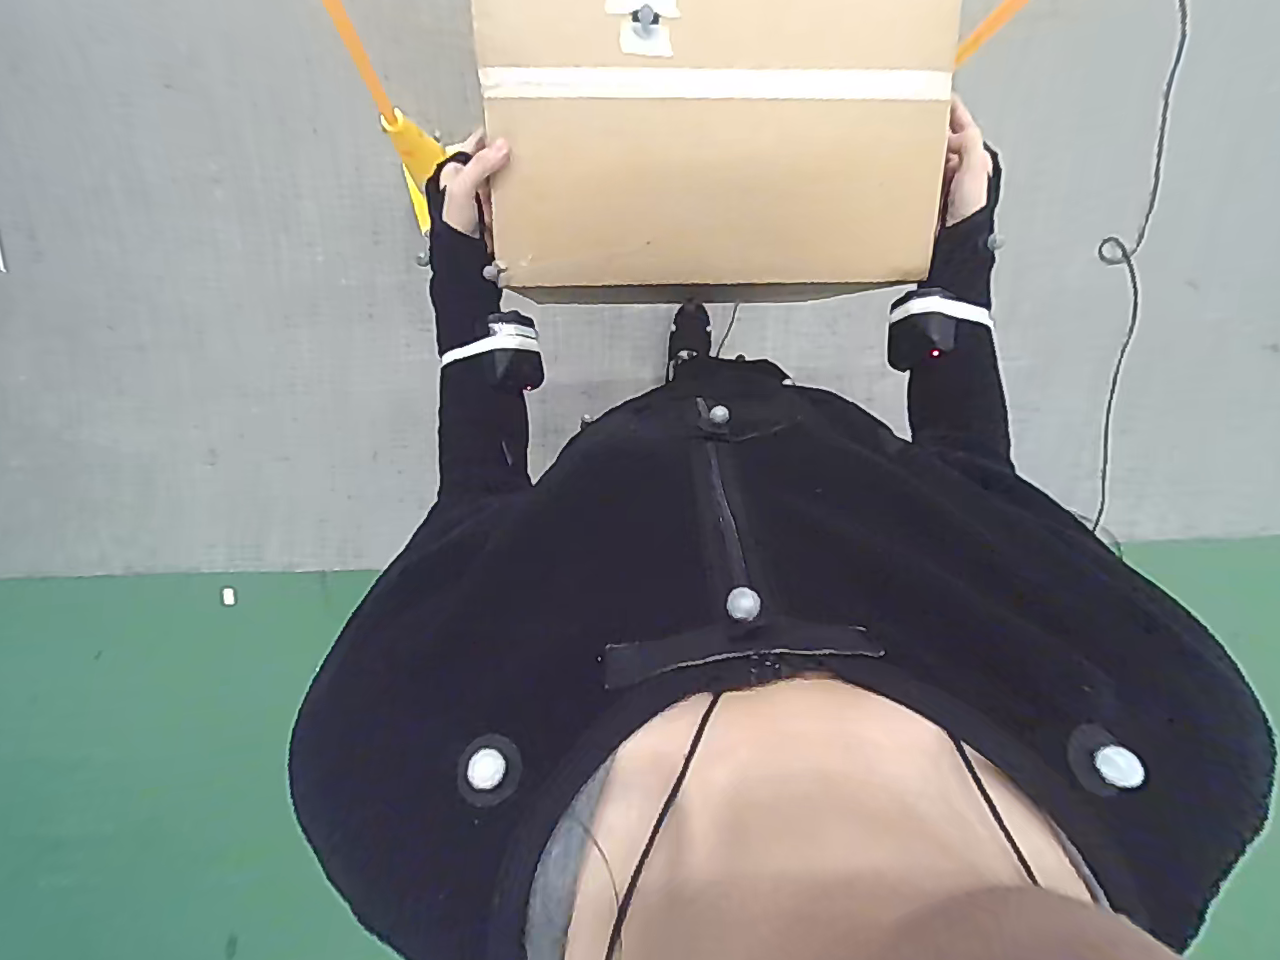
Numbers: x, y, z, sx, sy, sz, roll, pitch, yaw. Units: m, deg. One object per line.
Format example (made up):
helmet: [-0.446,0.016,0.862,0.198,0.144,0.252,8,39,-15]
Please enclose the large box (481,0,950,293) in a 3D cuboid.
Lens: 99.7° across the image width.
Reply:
large box: [0.062,-0.386,0.612,0.408,0.320,0.320,-2,105,-3]
